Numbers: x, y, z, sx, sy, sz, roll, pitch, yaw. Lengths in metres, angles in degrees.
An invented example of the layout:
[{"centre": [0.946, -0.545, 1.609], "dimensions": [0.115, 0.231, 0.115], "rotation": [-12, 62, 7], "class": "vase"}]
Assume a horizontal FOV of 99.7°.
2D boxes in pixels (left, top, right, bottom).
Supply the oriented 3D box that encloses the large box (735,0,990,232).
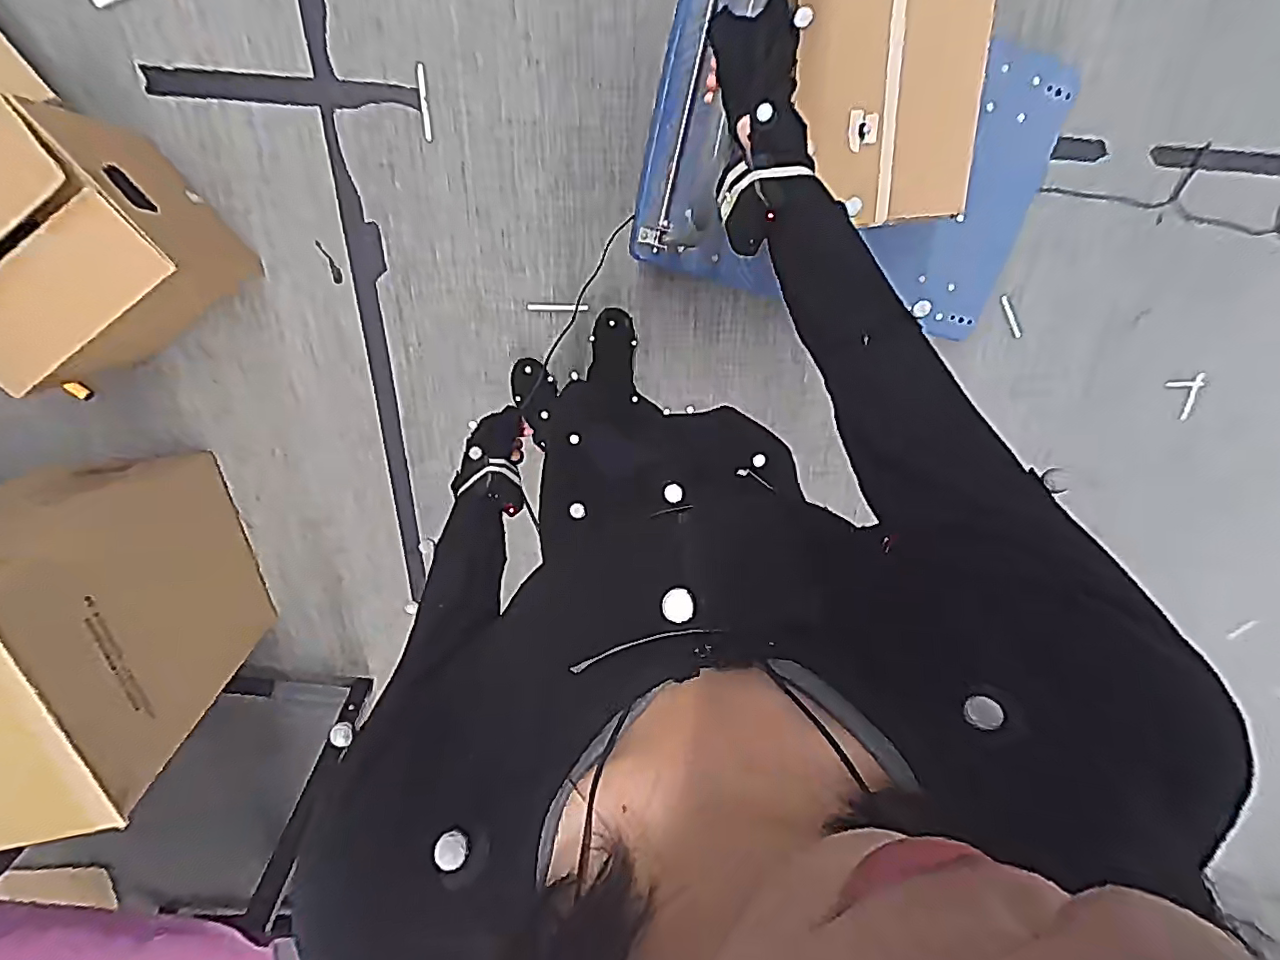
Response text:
[{"centre": [0.366, -0.682, 0.976], "dimensions": [0.320, 0.320, 0.408], "rotation": [-7, 114, -5], "class": "large box"}]
